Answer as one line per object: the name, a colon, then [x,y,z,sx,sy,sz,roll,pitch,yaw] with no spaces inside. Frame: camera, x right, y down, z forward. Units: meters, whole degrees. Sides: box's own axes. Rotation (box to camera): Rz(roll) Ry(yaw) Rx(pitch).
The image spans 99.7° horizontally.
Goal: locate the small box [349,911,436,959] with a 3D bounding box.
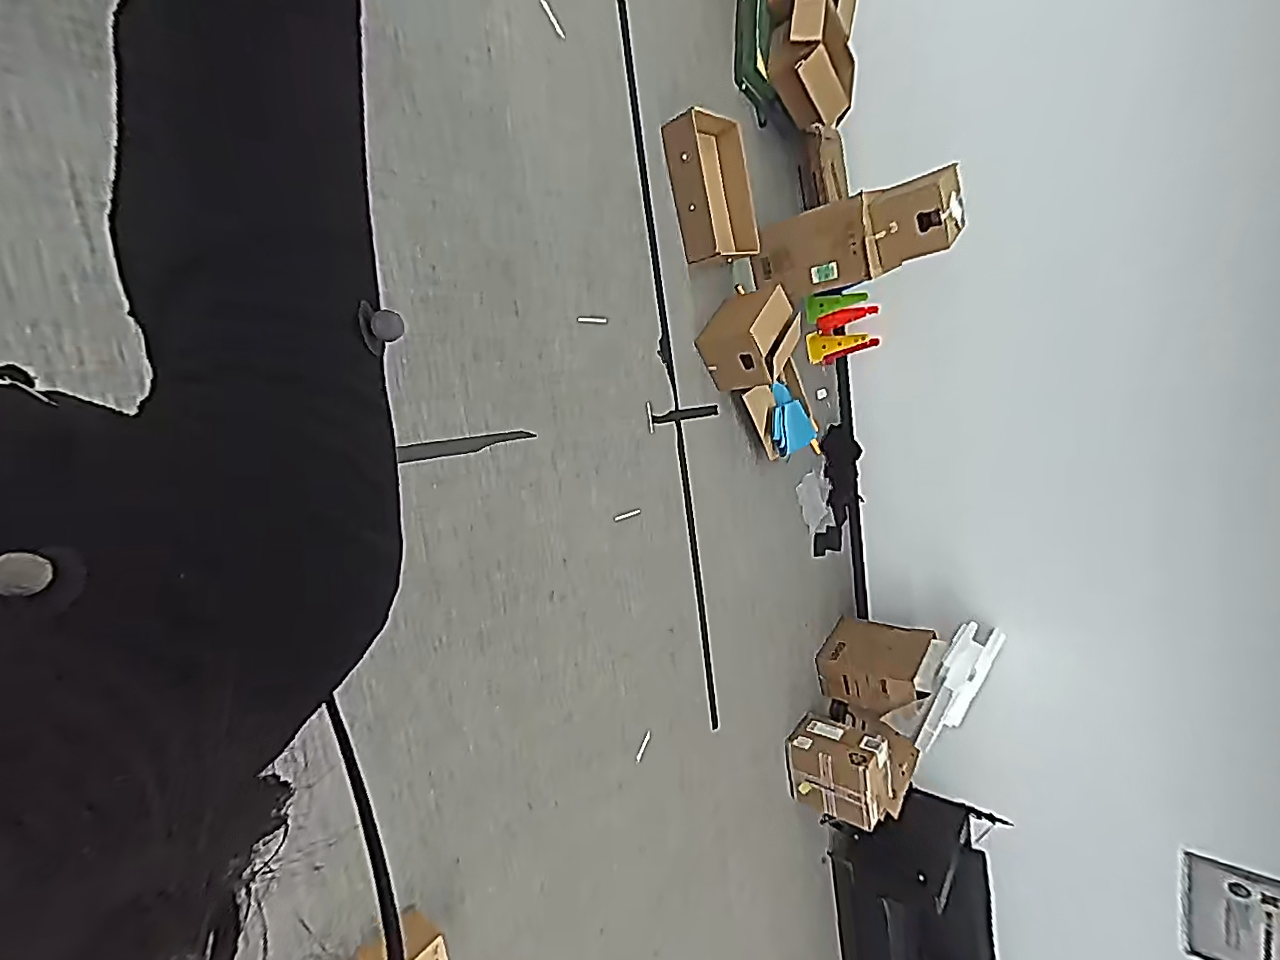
small box: [-0.669,1.337,1.461,0.179,0.176,0.168,-17,102,-47]
